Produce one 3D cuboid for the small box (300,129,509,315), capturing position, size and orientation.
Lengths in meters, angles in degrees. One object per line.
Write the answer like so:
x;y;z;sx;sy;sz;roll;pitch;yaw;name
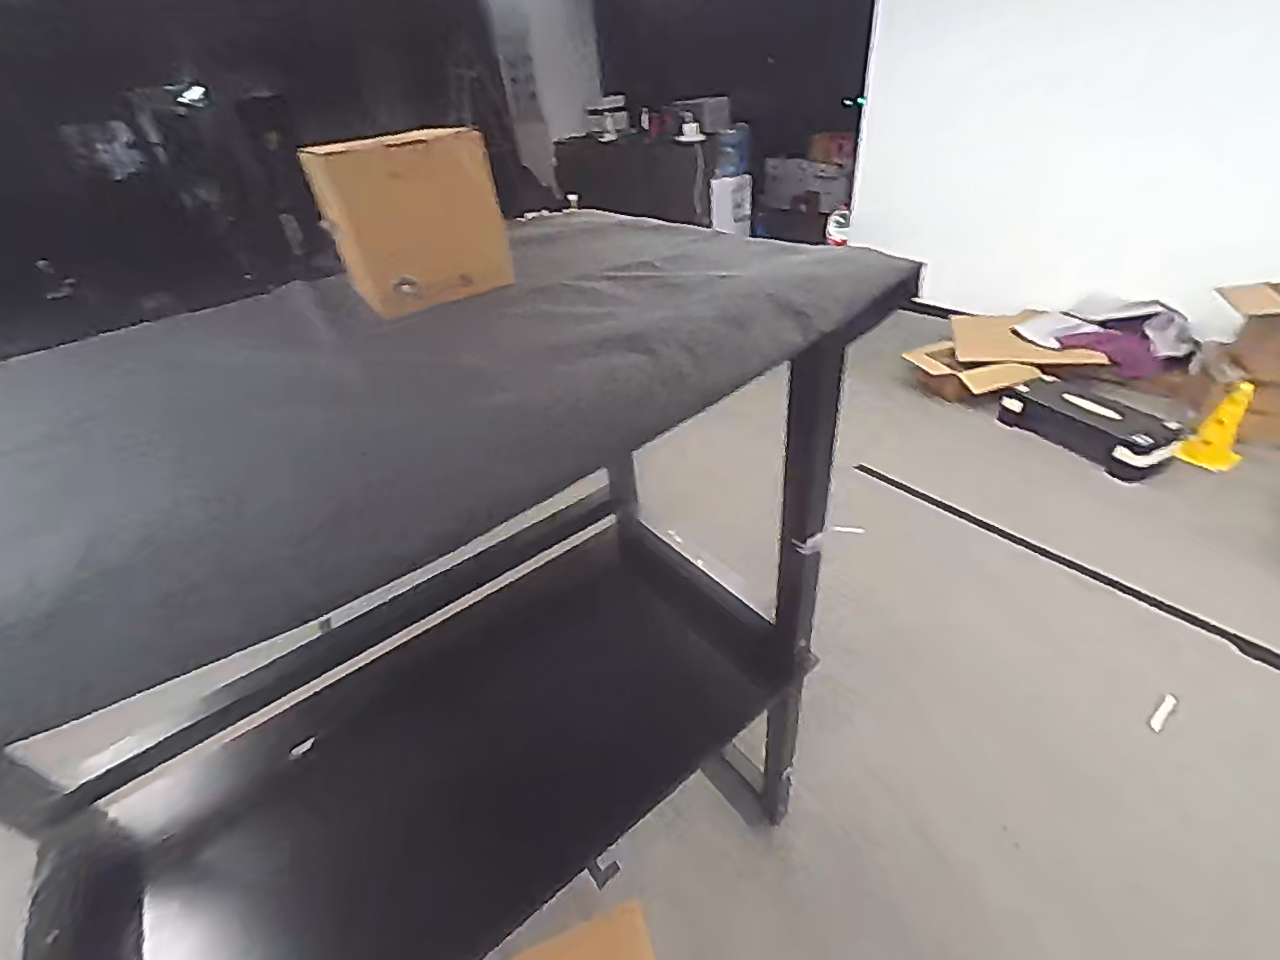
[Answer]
-0.281;-0.316;0.662;0.168;0.176;0.179;-27;40;-23;small box
